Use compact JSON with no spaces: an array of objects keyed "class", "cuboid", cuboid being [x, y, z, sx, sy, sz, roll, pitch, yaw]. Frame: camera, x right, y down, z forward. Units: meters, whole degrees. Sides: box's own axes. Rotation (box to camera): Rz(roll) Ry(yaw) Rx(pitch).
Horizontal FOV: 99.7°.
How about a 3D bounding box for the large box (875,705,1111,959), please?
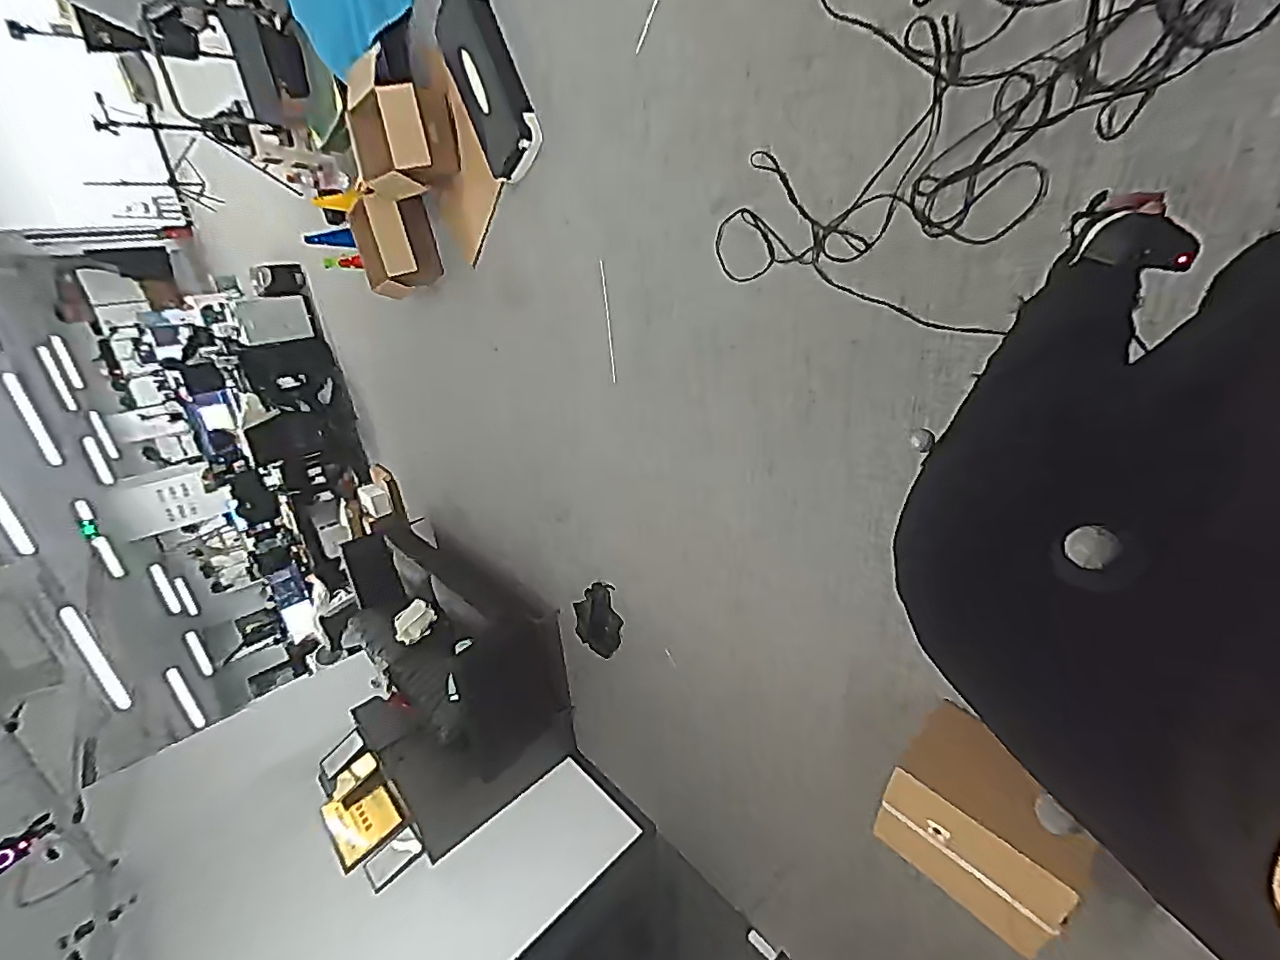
[{"class":"large box","cuboid":[0.911,0.895,1.427,0.408,0.320,0.320,29,129,41]}]
